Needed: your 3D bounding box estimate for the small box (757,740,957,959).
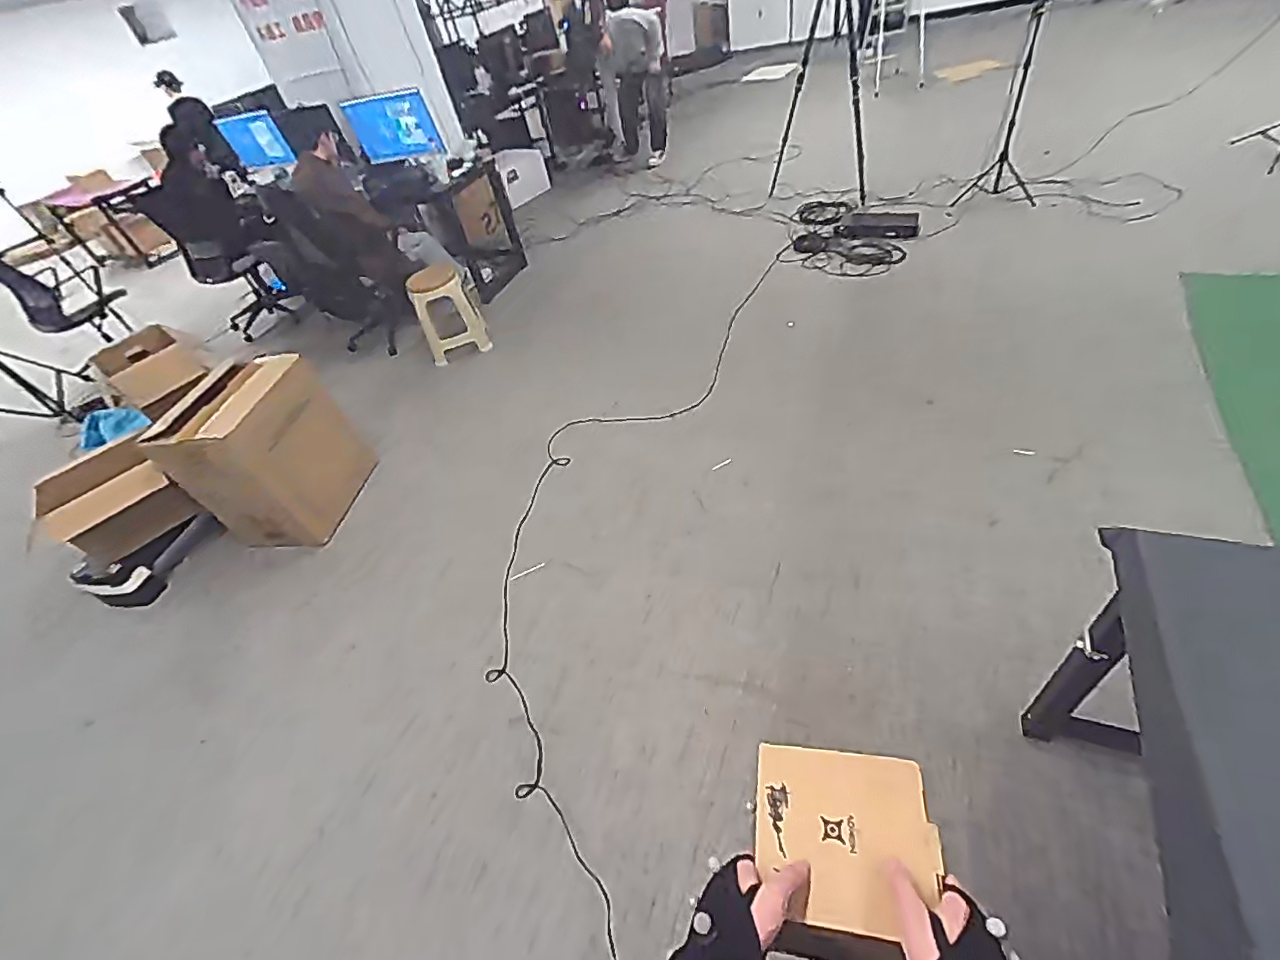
[{"bbox_3d":[0.224,0.420,0.606,0.179,0.176,0.168,1,42,14],"label":"small box"}]
